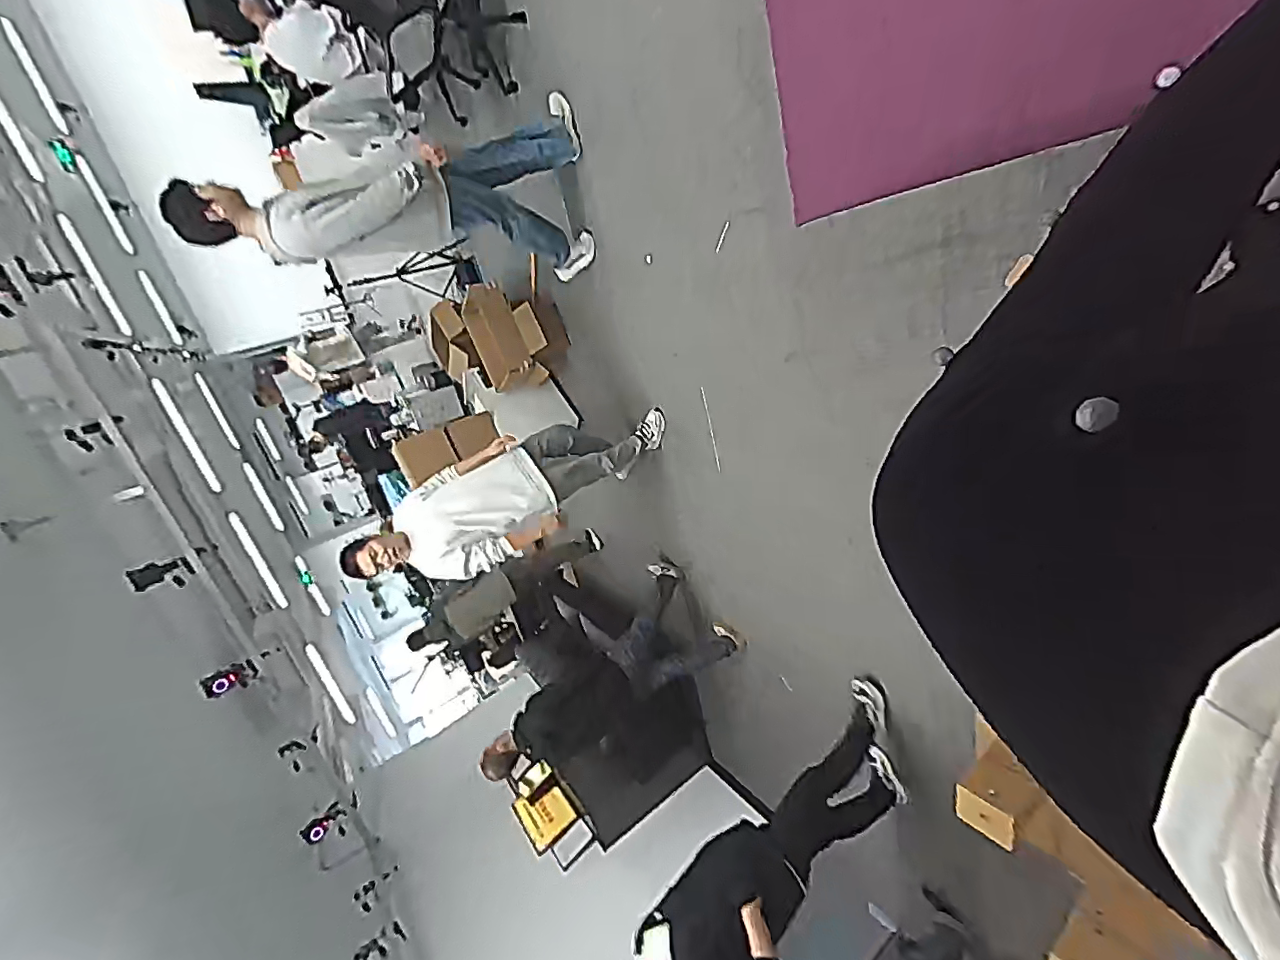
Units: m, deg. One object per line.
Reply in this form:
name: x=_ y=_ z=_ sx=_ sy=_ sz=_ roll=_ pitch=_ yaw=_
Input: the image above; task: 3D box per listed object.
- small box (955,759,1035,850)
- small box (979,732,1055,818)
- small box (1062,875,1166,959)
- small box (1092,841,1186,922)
small box: x=1.205 y=1.091 z=1.839 sx=0.179 sy=0.176 sz=0.168 roll=17 pitch=126 yaw=53
small box: x=1.336 y=1.036 z=1.917 sx=0.179 sy=0.176 sz=0.168 roll=19 pitch=129 yaw=53
small box: x=1.439 y=1.356 z=1.645 sx=0.179 sy=0.176 sz=0.168 roll=28 pitch=136 yaw=49
small box: x=1.574 y=1.299 z=1.722 sx=0.179 sy=0.176 sz=0.168 roll=28 pitch=136 yaw=48
